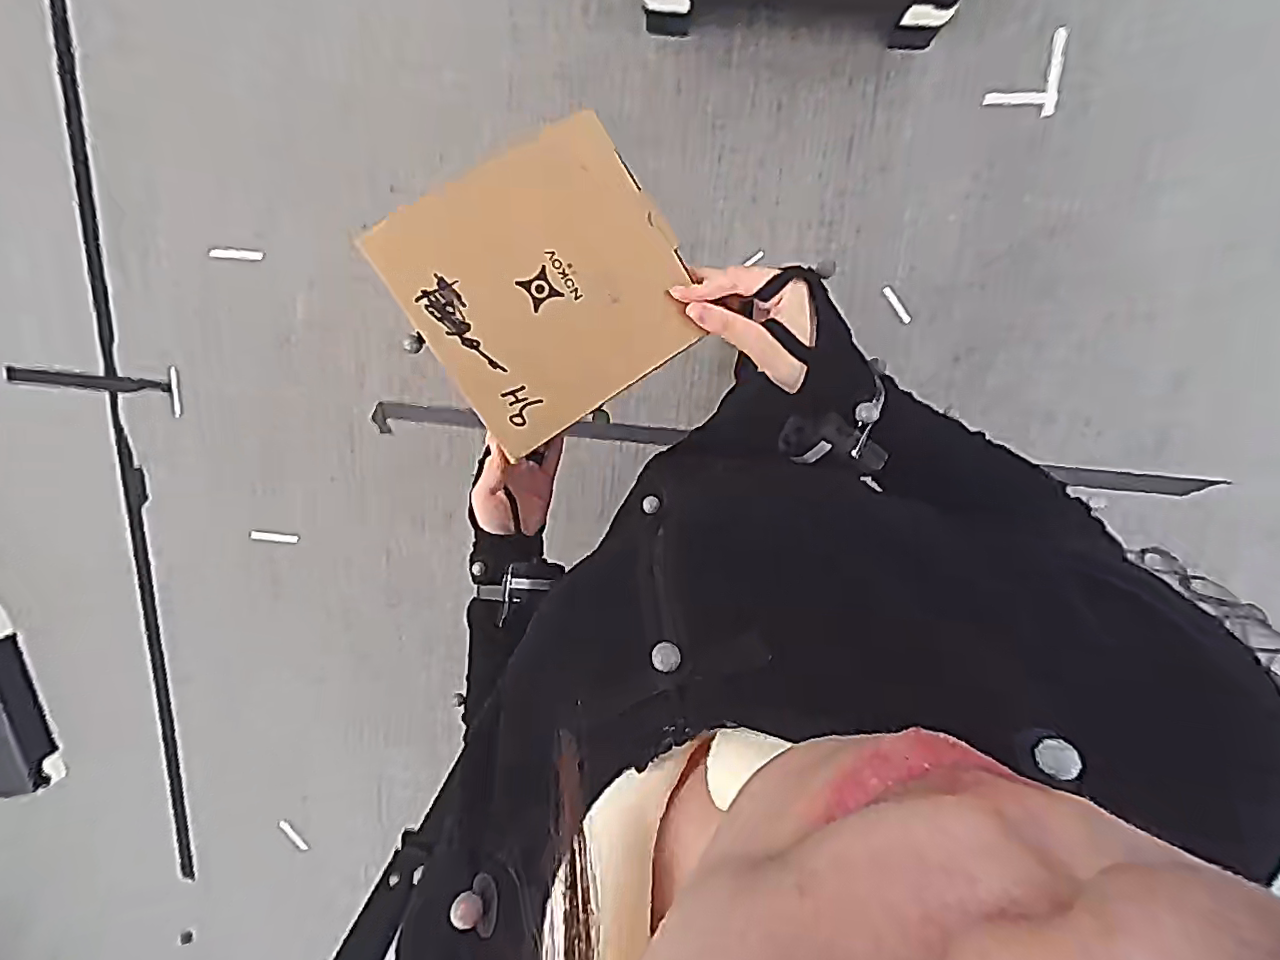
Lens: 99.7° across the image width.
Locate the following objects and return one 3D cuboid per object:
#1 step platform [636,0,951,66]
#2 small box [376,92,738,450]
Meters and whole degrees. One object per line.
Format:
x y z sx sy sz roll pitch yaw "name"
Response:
0.326 -1.122 1.132 0.684 0.204 0.286 11 103 4 "step platform"
-0.063 -0.136 0.416 0.179 0.176 0.168 -33 98 -11 "small box"
